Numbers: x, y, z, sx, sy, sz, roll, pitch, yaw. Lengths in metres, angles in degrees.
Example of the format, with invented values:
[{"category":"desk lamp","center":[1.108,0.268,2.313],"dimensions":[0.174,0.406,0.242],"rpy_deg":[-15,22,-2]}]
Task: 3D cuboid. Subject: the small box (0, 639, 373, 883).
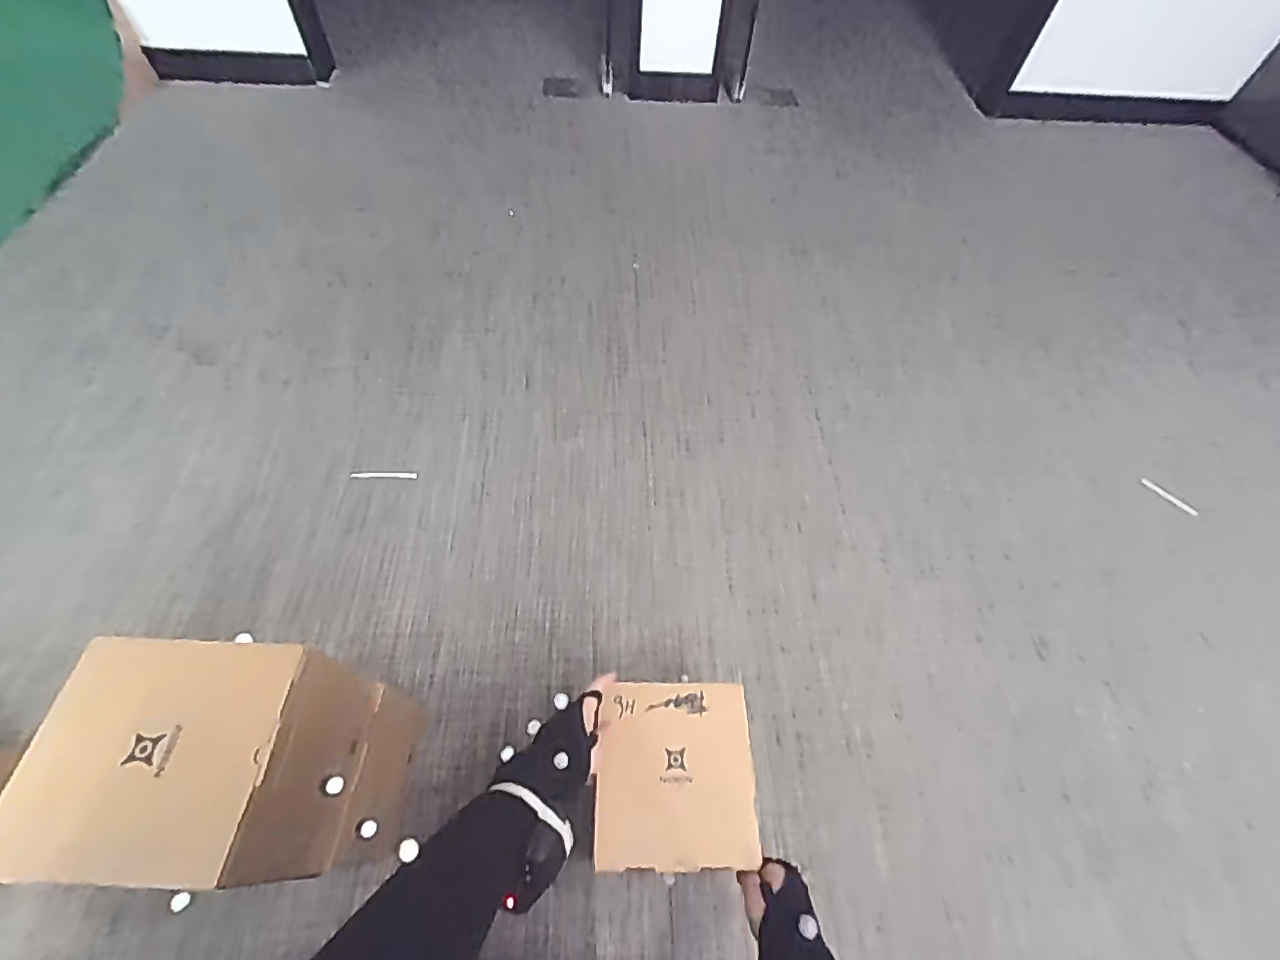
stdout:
[{"category":"small box","center":[-0.375,0.251,0.482],"dimensions":[0.179,0.176,0.168],"rpy_deg":[3,56,-2]}]
